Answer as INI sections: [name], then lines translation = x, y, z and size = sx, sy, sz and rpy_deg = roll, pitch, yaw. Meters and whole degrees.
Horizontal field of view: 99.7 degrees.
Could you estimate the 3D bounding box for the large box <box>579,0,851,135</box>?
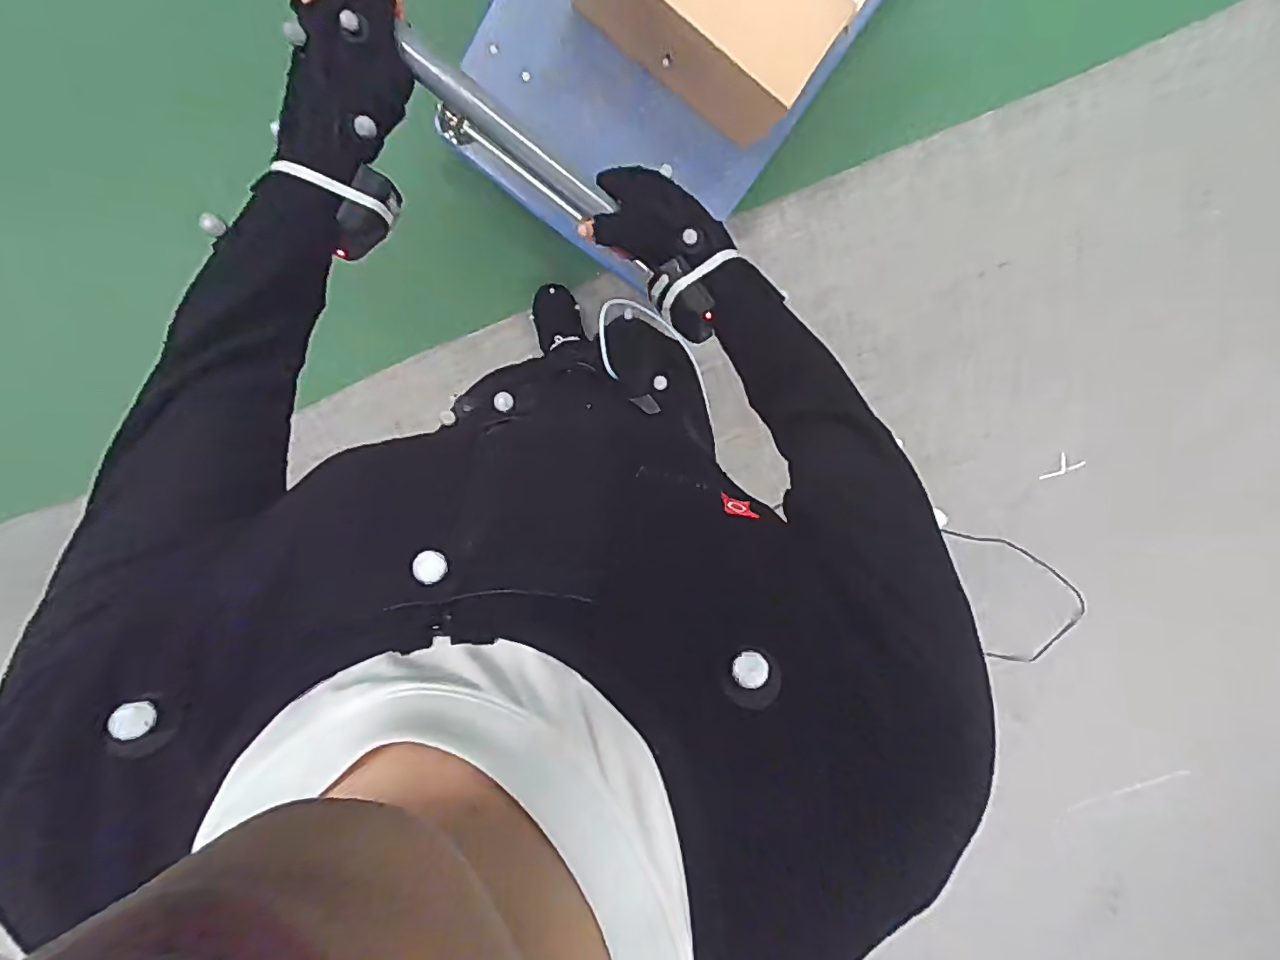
[large box]
translation = 0.136, -0.841, 0.857
size = 0.408, 0.320, 0.320
rpy_deg = 31, 107, -13
